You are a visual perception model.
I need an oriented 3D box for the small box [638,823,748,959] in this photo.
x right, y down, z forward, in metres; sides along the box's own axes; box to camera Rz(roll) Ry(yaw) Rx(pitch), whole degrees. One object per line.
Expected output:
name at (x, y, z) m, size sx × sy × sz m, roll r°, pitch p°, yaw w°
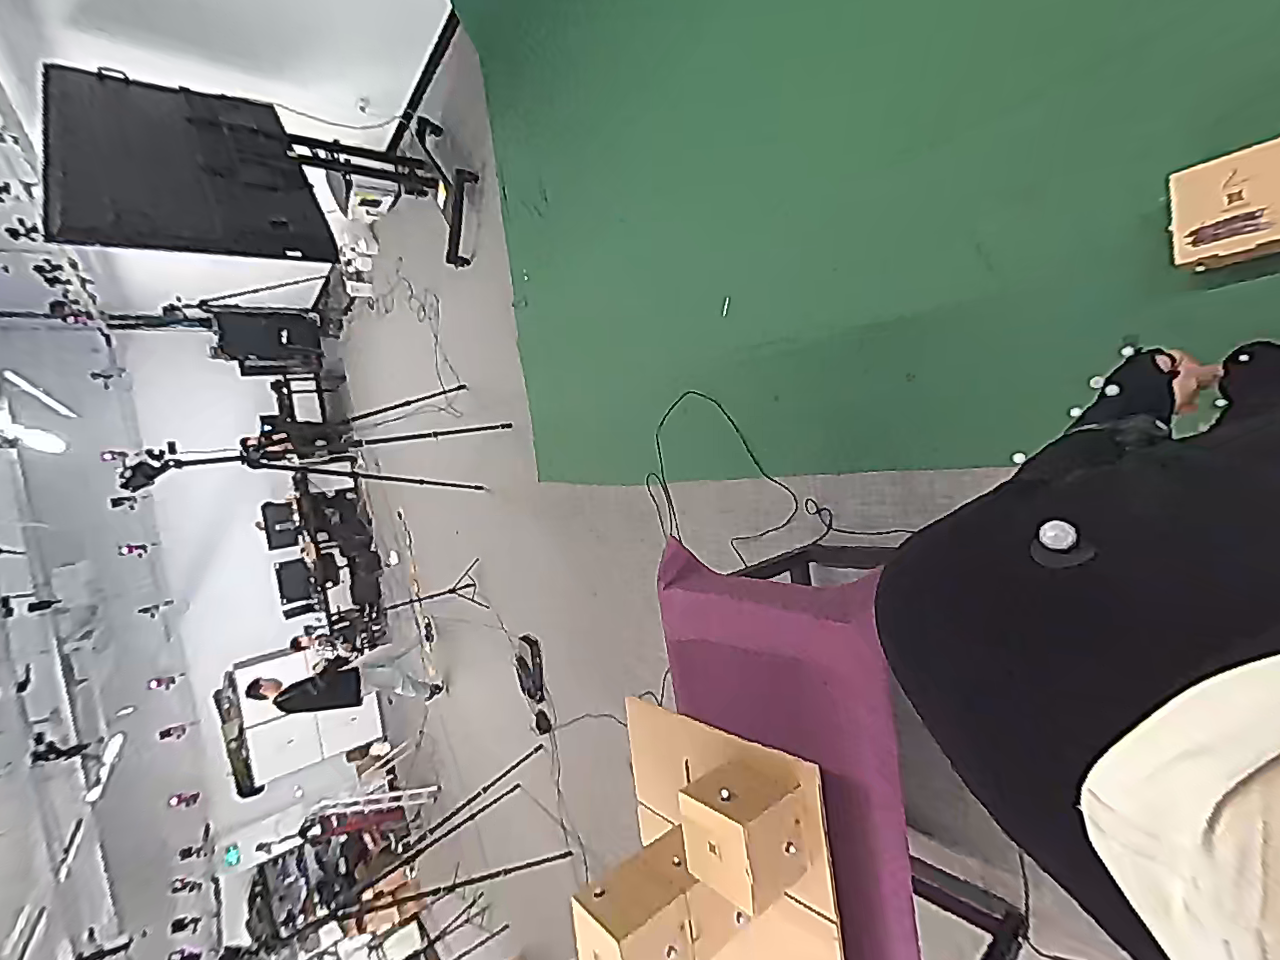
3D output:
small box at (0.123, 0.897, 1.201) m, size 0.179 × 0.176 × 0.168 m, roll -9°, pitch 89°, yaw 52°

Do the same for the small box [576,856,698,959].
small box at (-0.007, 0.914, 1.101) m, size 0.179 × 0.176 × 0.168 m, roll -8°, pitch 89°, yaw 51°

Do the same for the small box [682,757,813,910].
small box at (0.209, 0.672, 1.058) m, size 0.179 × 0.176 × 0.168 m, roll -8°, pitch 90°, yaw 51°
